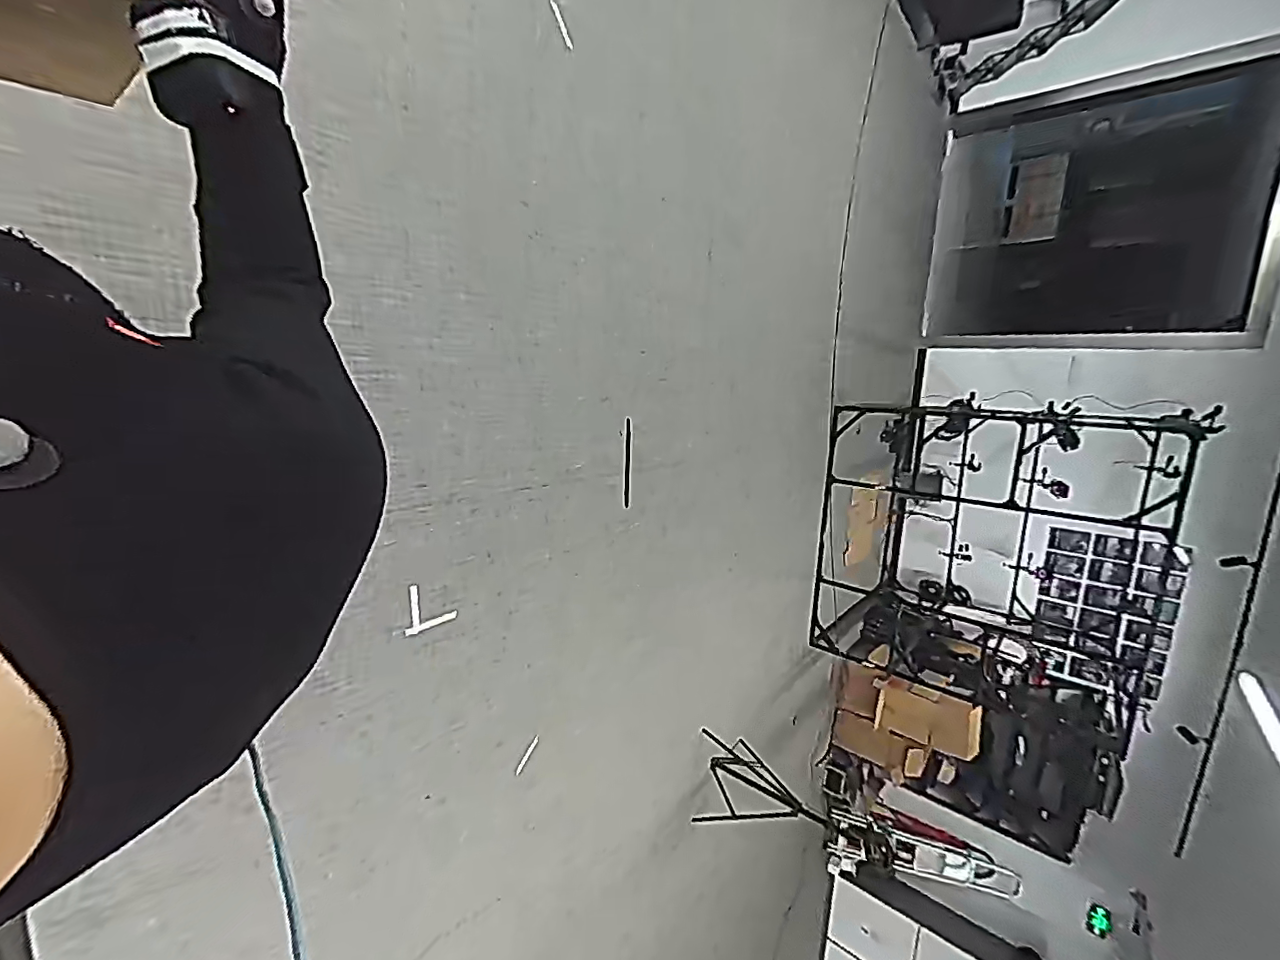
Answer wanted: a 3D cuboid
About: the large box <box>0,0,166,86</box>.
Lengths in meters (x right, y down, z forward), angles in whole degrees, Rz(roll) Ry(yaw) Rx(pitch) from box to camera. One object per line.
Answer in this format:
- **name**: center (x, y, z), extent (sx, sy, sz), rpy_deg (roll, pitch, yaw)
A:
- **large box**: center (-0.555, -0.478, 0.277), extent (0.408, 0.320, 0.320), rpy_deg (-15, 115, -49)
